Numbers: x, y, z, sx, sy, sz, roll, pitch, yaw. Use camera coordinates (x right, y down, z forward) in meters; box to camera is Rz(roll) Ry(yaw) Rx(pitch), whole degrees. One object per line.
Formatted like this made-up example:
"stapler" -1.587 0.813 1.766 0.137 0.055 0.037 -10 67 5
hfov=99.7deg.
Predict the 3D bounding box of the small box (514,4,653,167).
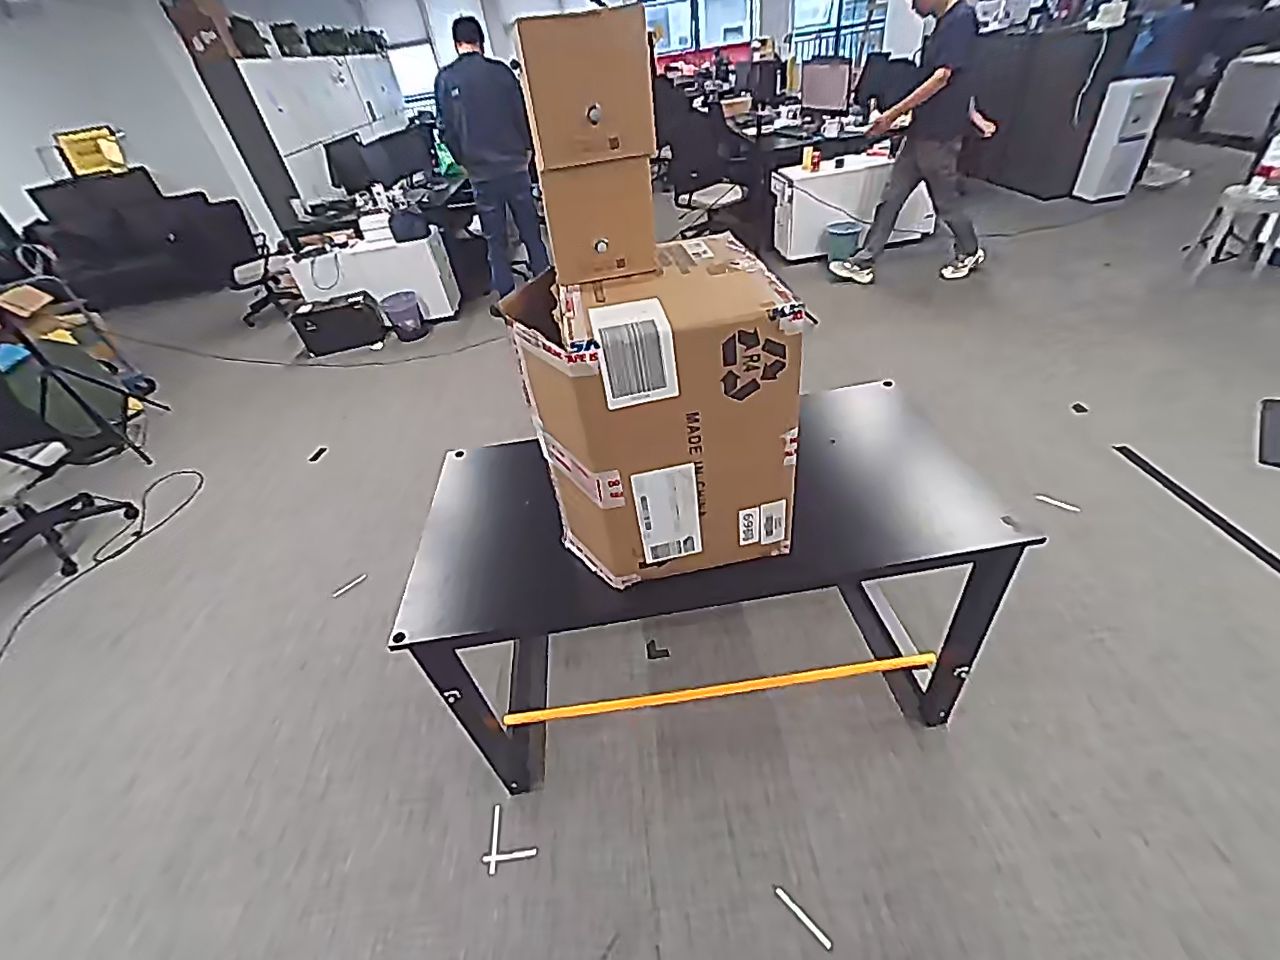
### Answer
"small box" -0.083 -0.568 0.792 0.168 0.176 0.179 -13 37 -6

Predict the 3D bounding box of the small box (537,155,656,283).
"small box" -0.074 -0.441 0.897 0.168 0.176 0.179 -11 37 -5
